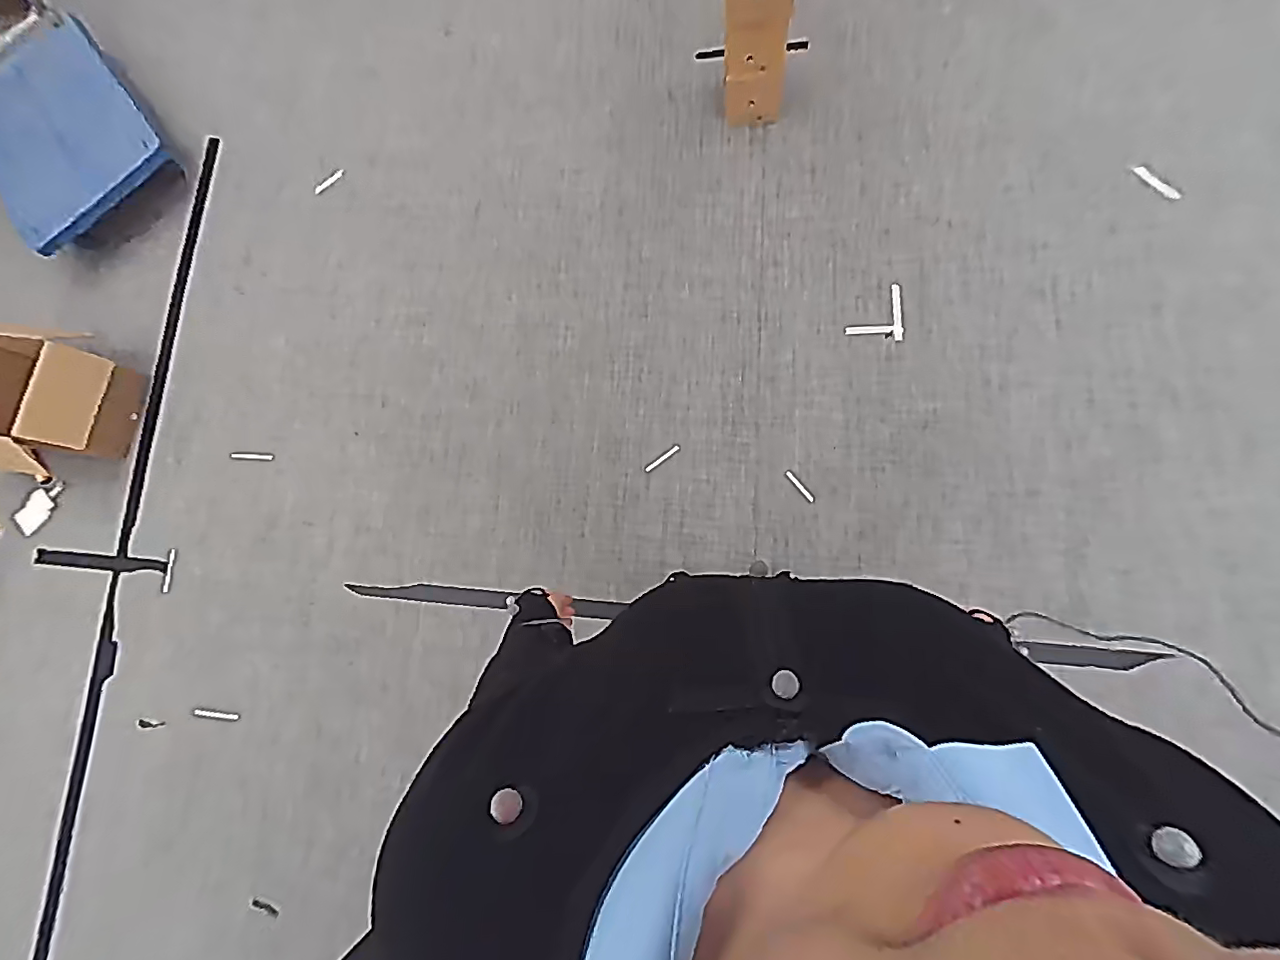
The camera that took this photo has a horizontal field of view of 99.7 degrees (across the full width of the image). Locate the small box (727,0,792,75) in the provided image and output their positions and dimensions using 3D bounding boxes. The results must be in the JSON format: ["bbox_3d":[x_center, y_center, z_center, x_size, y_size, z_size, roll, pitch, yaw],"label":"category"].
[{"bbox_3d":[0.329,-1.280,1.505,0.168,0.176,0.179,2,81,9],"label":"small box"}]

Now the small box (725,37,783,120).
[{"bbox_3d":[0.349,-1.243,1.663,0.168,0.176,0.179,0,80,8],"label":"small box"}]
